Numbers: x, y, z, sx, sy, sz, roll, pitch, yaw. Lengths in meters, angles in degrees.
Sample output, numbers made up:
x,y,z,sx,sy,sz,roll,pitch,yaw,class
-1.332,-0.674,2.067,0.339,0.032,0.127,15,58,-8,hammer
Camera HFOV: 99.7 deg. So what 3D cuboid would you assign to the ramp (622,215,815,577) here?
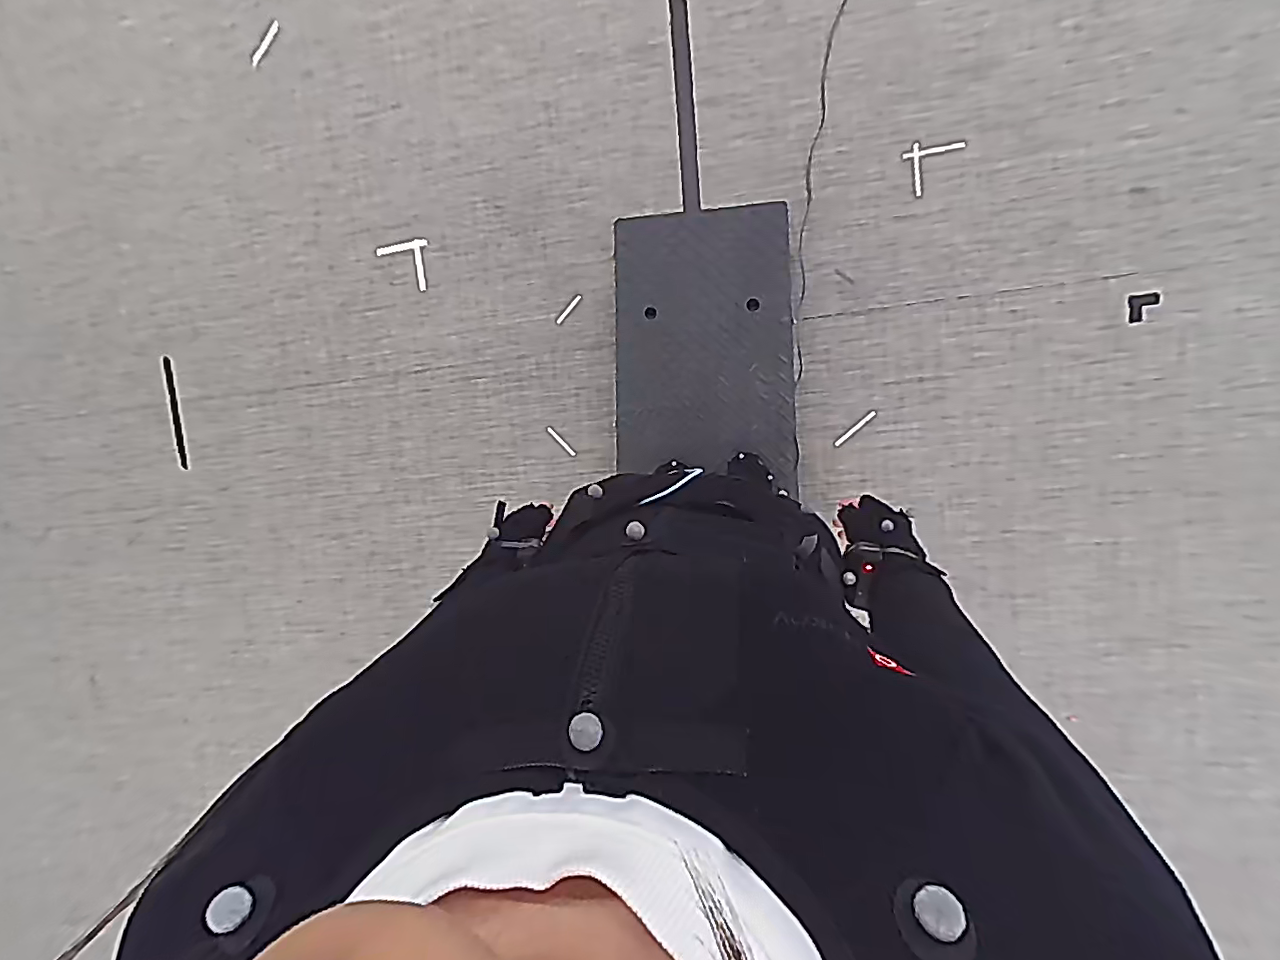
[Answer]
x,y,z,sx,sy,sz,roll,pitch,yaw,class
0.197,-0.239,1.504,0.509,0.206,0.991,-5,92,12,ramp
